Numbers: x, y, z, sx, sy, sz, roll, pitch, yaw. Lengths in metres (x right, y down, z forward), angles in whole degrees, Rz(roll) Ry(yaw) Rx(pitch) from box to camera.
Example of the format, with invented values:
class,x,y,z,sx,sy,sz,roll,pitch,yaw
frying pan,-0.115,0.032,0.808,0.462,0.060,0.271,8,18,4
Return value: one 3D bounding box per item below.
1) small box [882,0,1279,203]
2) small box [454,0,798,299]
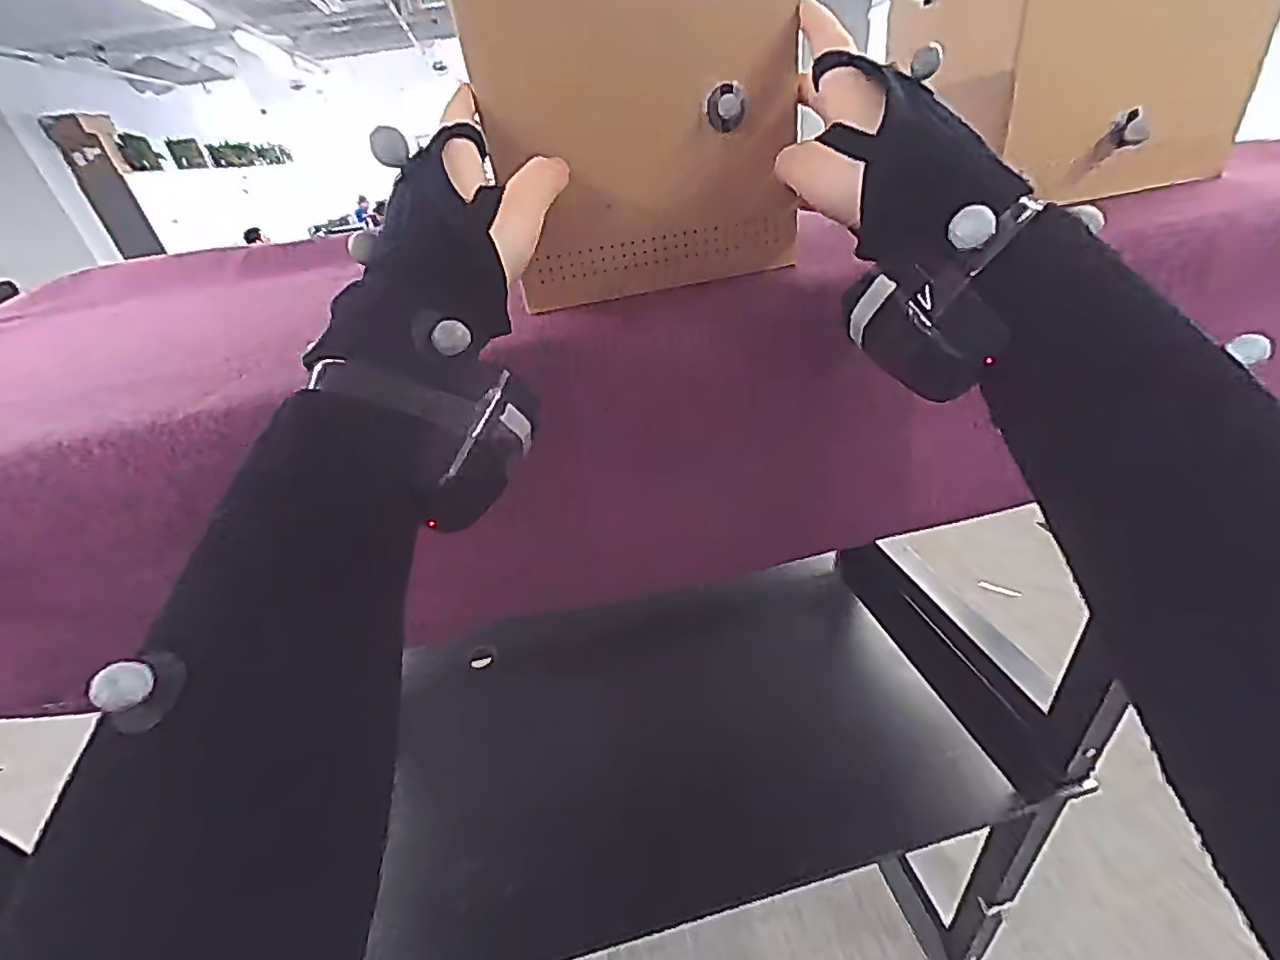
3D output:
class,x,y,z,sx,sy,sz,roll,pitch,yaw
small box,0.303,-0.315,0.396,0.179,0.176,0.168,-11,31,-2
small box,-0.007,-0.234,0.358,0.179,0.176,0.168,-13,31,-3
